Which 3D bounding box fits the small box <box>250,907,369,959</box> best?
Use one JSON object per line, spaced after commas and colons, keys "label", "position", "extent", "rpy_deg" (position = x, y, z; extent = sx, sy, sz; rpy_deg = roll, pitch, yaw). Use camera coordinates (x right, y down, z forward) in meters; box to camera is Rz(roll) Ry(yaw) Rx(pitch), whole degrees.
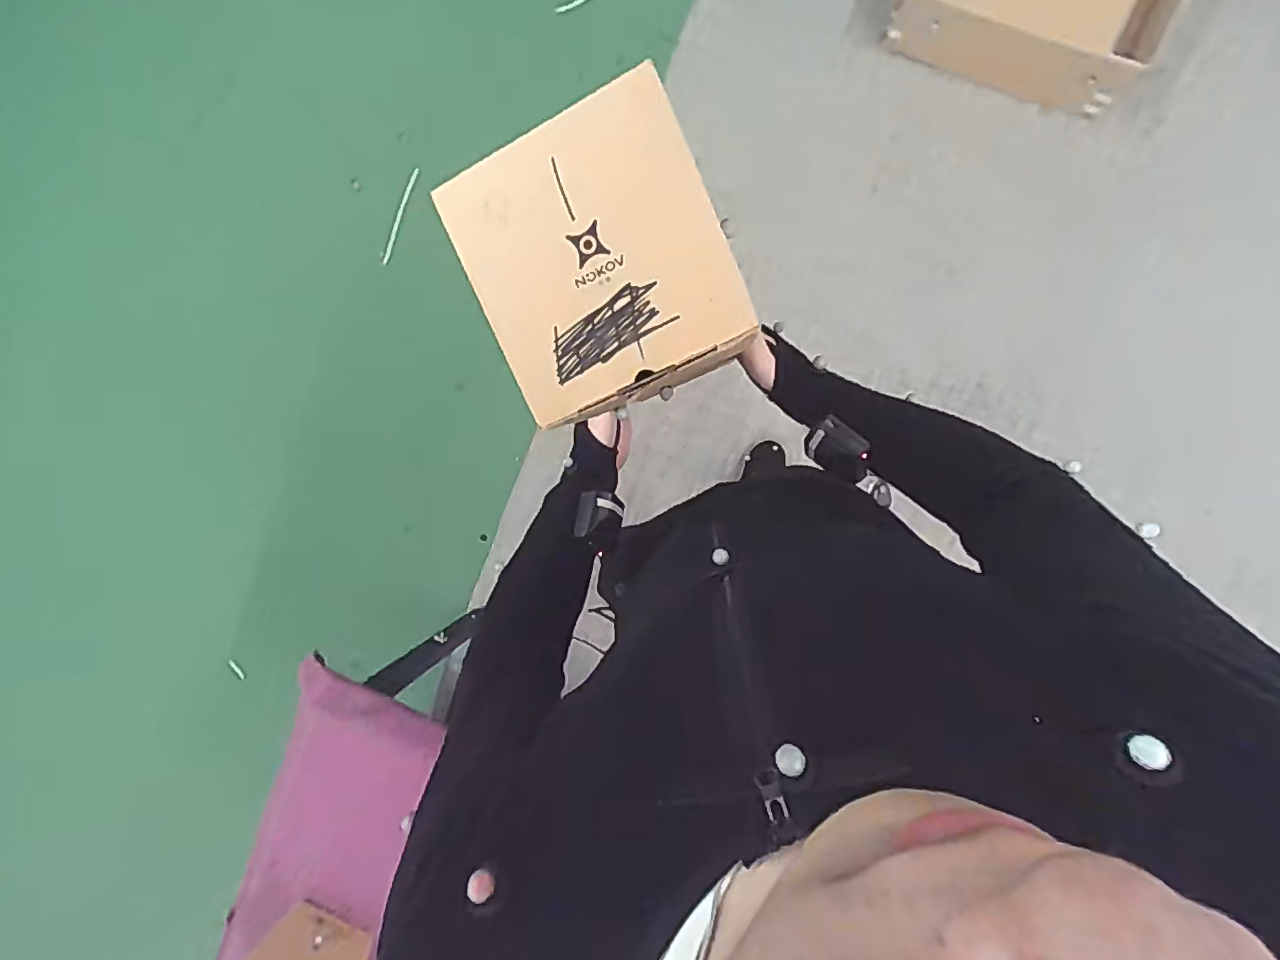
{"label": "small box", "position": [-0.606, 0.907, 0.934], "extent": [0.168, 0.176, 0.179], "rpy_deg": [22, 94, 3]}

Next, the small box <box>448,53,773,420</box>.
{"label": "small box", "position": [-0.008, -0.162, 0.423], "extent": [0.168, 0.176, 0.179], "rpy_deg": [-22, 96, 12]}
